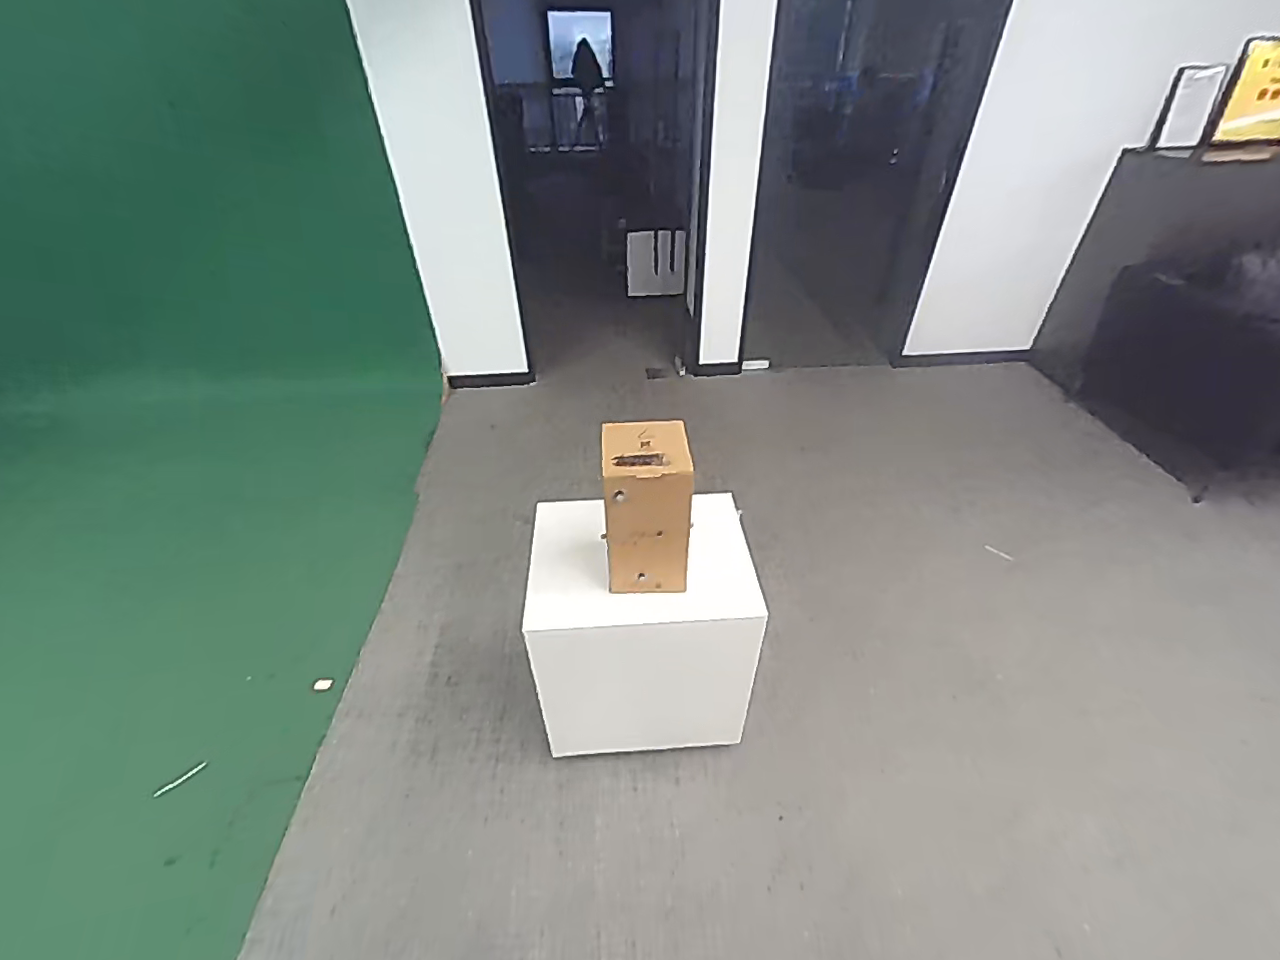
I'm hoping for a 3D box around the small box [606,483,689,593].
[{"bbox_3d":[0.013,0.124,1.174,0.168,0.176,0.179,-1,38,-1],"label":"small box"}]
